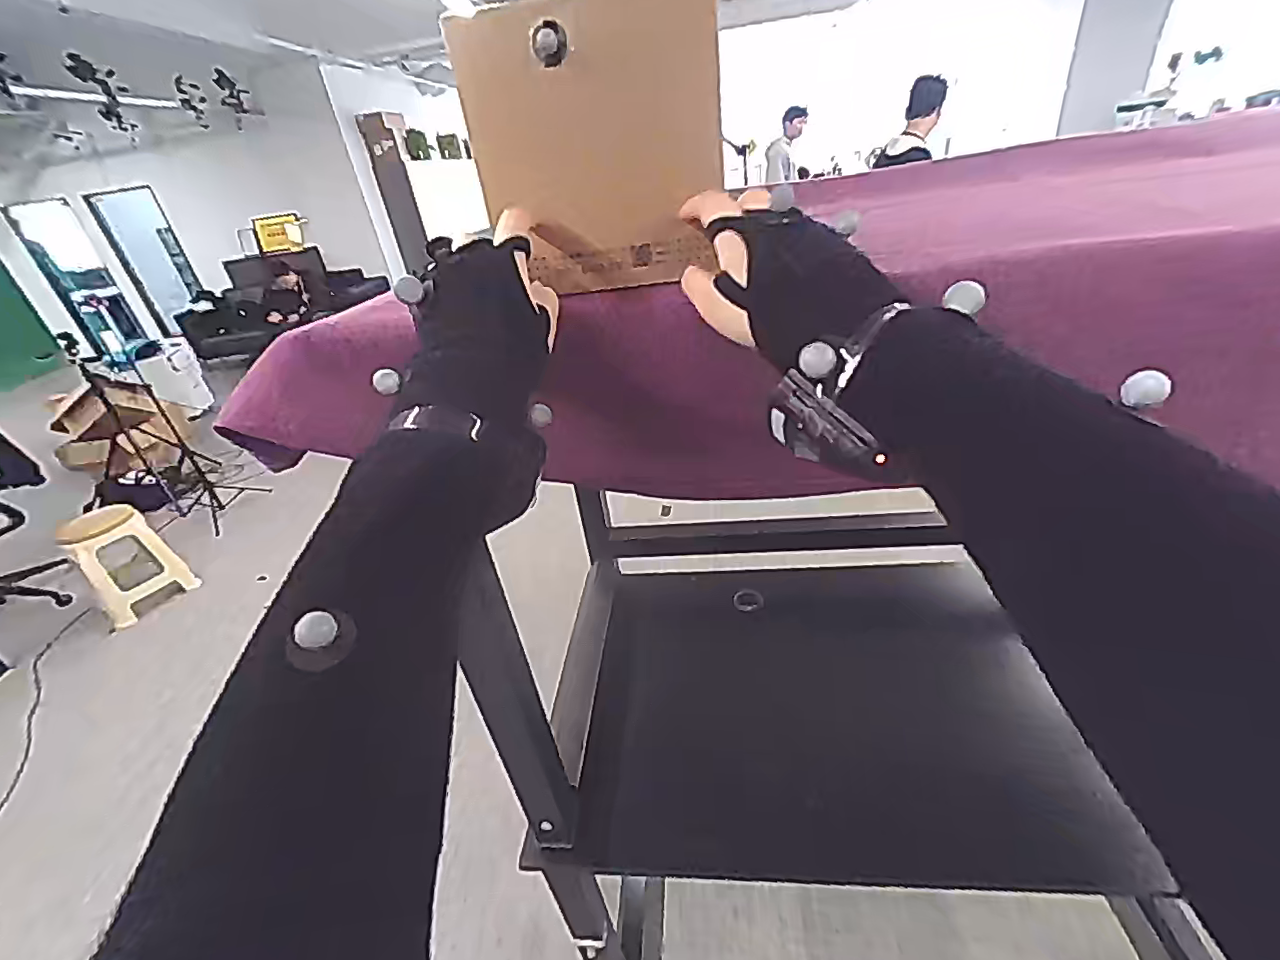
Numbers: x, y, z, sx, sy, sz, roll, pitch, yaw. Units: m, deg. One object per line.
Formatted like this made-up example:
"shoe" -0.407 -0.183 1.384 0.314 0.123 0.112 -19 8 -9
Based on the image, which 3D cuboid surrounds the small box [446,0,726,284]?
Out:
"small box" -0.021 -0.258 0.424 0.168 0.176 0.179 -4 29 9
